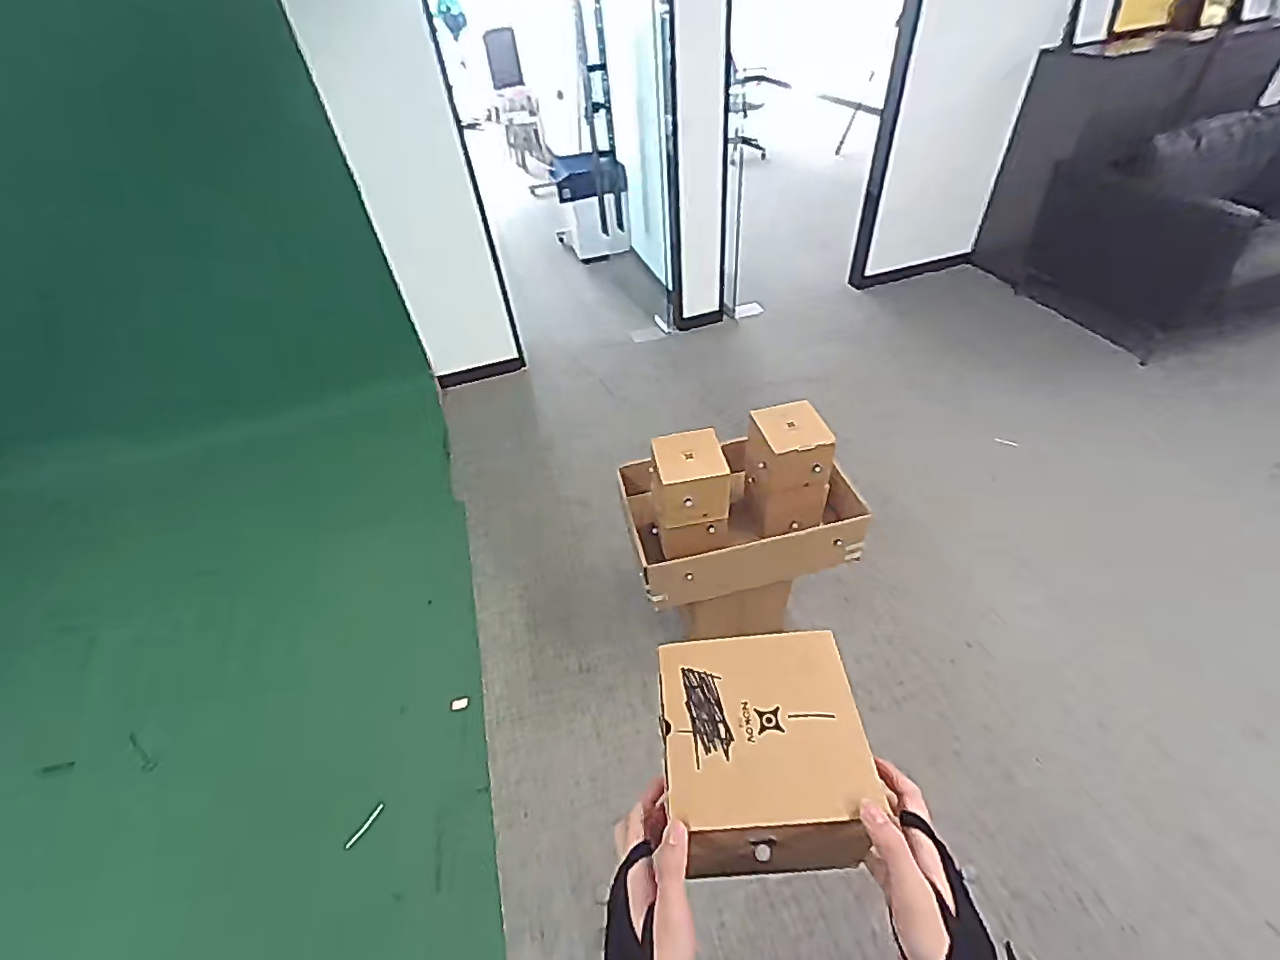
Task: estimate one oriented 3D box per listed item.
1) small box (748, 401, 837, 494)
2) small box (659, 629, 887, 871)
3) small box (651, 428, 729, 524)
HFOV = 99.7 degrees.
[{"bbox_3d":[0.392,-0.080,1.423,0.168,0.176,0.179,-11,45,-6],"label":"small box"},{"bbox_3d":[0.116,0.269,0.535,0.179,0.176,0.168,-5,43,3],"label":"small box"},{"bbox_3d":[0.127,-0.003,1.378,0.168,0.176,0.179,-10,44,-3],"label":"small box"}]
